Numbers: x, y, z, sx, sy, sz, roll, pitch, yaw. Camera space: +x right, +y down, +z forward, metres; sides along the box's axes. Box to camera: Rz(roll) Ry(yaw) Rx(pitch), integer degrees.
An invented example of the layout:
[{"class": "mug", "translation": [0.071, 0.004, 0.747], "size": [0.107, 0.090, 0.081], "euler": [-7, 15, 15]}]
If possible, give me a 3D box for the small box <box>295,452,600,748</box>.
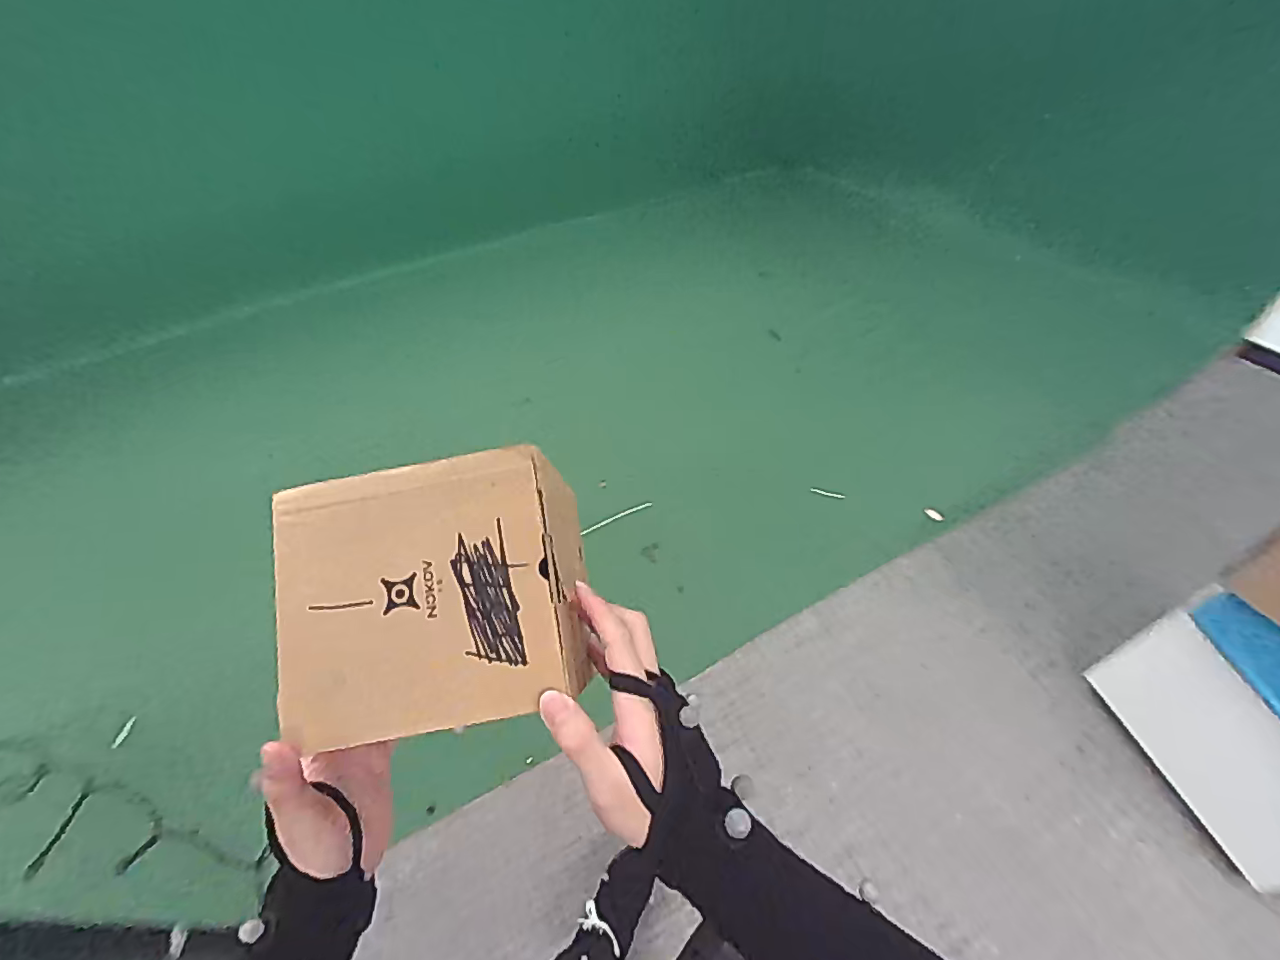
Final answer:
[{"class": "small box", "translation": [-0.130, 0.089, 0.421], "size": [0.179, 0.176, 0.168], "euler": [-10, 76, 1]}]
